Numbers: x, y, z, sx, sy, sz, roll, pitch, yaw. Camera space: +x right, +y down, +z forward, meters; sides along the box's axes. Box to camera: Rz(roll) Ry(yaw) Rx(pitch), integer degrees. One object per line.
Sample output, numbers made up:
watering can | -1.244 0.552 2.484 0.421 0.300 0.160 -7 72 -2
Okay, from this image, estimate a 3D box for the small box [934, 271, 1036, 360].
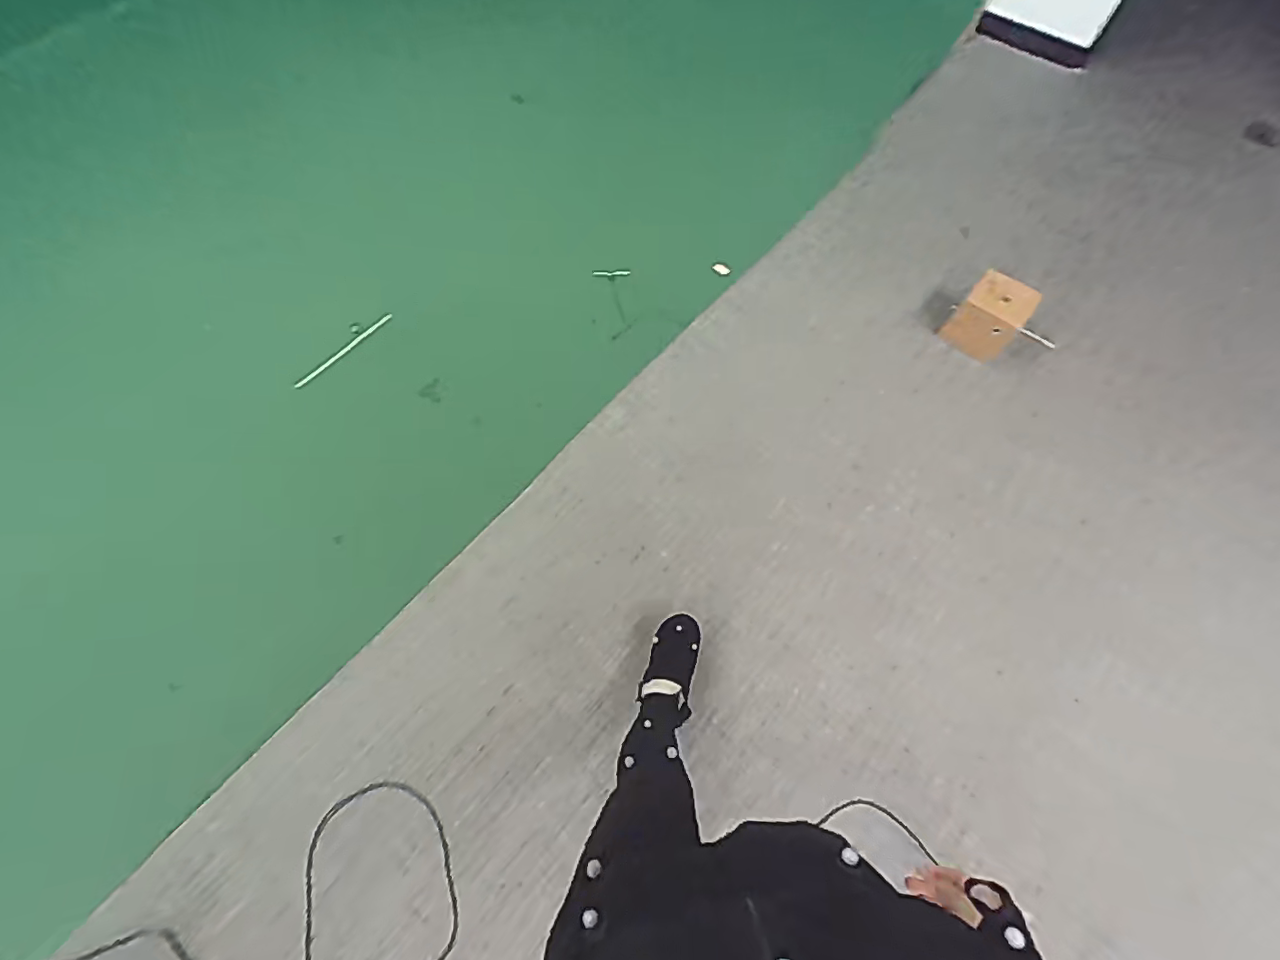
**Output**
small box | 1.060 -0.501 1.674 0.179 0.176 0.168 37 71 16
